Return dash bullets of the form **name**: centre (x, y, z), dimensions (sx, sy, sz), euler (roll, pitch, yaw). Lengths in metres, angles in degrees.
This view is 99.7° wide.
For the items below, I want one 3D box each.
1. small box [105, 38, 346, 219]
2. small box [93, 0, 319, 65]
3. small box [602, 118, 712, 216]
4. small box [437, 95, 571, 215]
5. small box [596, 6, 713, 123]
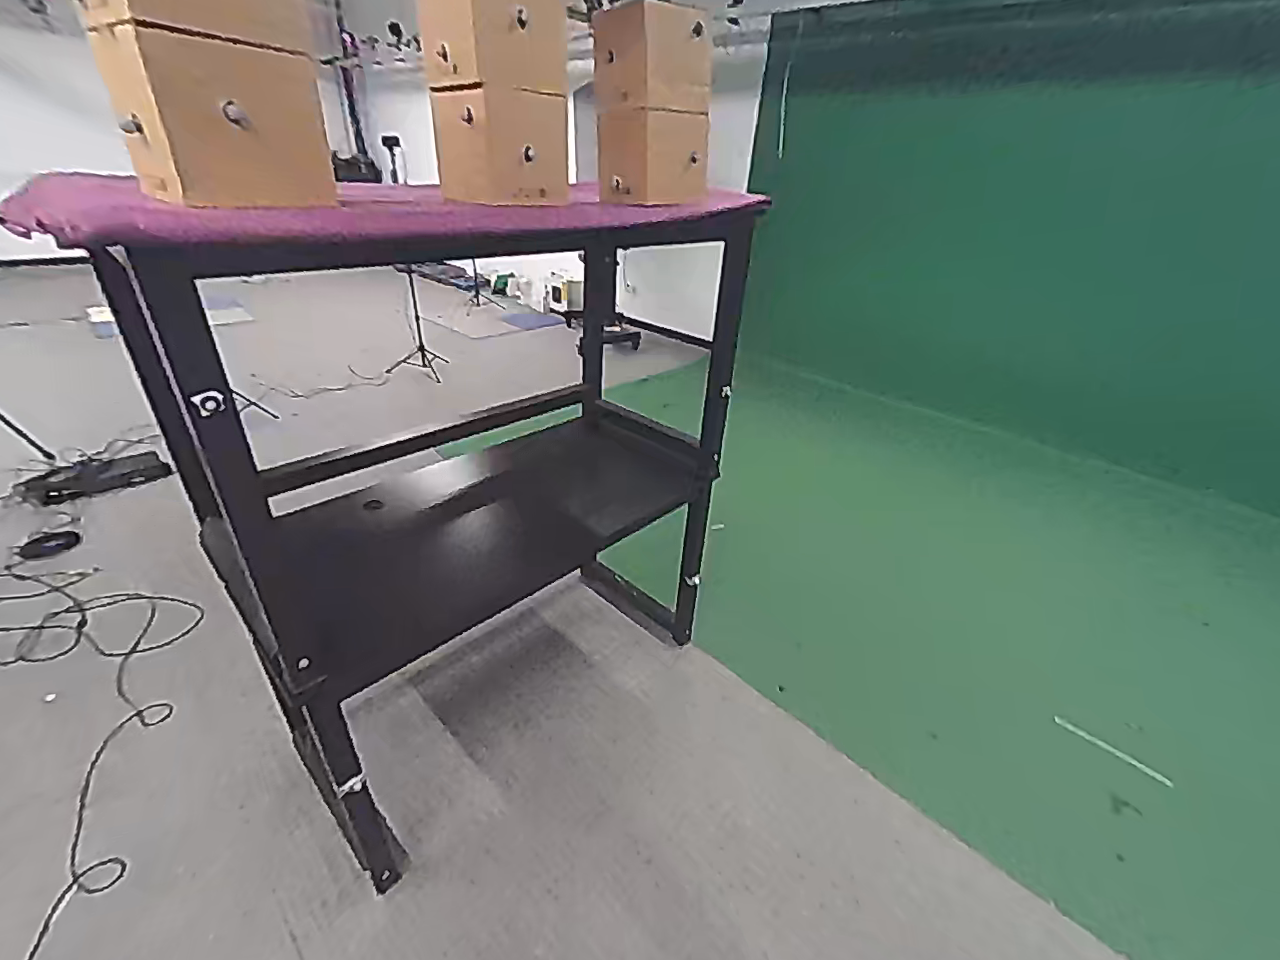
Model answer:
- **small box**: centre (-0.508, -0.431, 0.682), dimensions (0.168, 0.176, 0.179), euler (25, 36, 31)
- **small box**: centre (-0.496, -0.574, 0.601), dimensions (0.168, 0.176, 0.179), euler (24, 34, 29)
- **small box**: centre (0.033, -0.670, 1.166), dimensions (0.179, 0.176, 0.168), euler (-23, 36, -35)
- **small box**: centre (-0.237, -0.573, 0.965), dimensions (0.179, 0.176, 0.168), euler (28, 37, 36)
- **small box**: centre (0.029, -0.814, 1.090), dimensions (0.179, 0.176, 0.168), euler (-20, 34, -33)
